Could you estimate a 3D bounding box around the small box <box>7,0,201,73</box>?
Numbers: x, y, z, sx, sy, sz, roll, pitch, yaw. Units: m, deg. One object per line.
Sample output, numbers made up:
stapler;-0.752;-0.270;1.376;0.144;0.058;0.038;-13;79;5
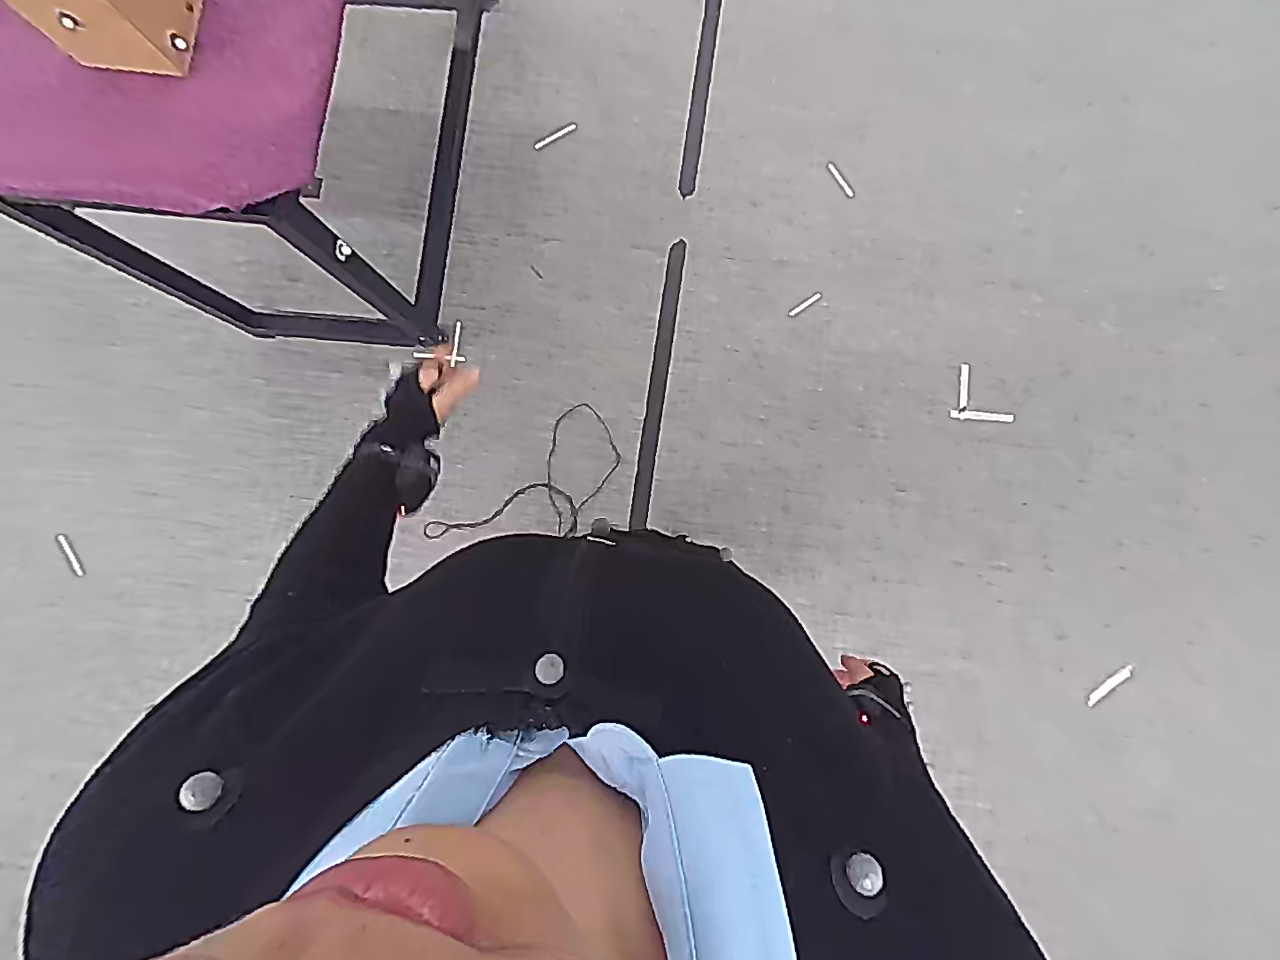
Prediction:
small box;-0.804;-0.748;0.800;0.179;0.176;0.168;7;84;2
